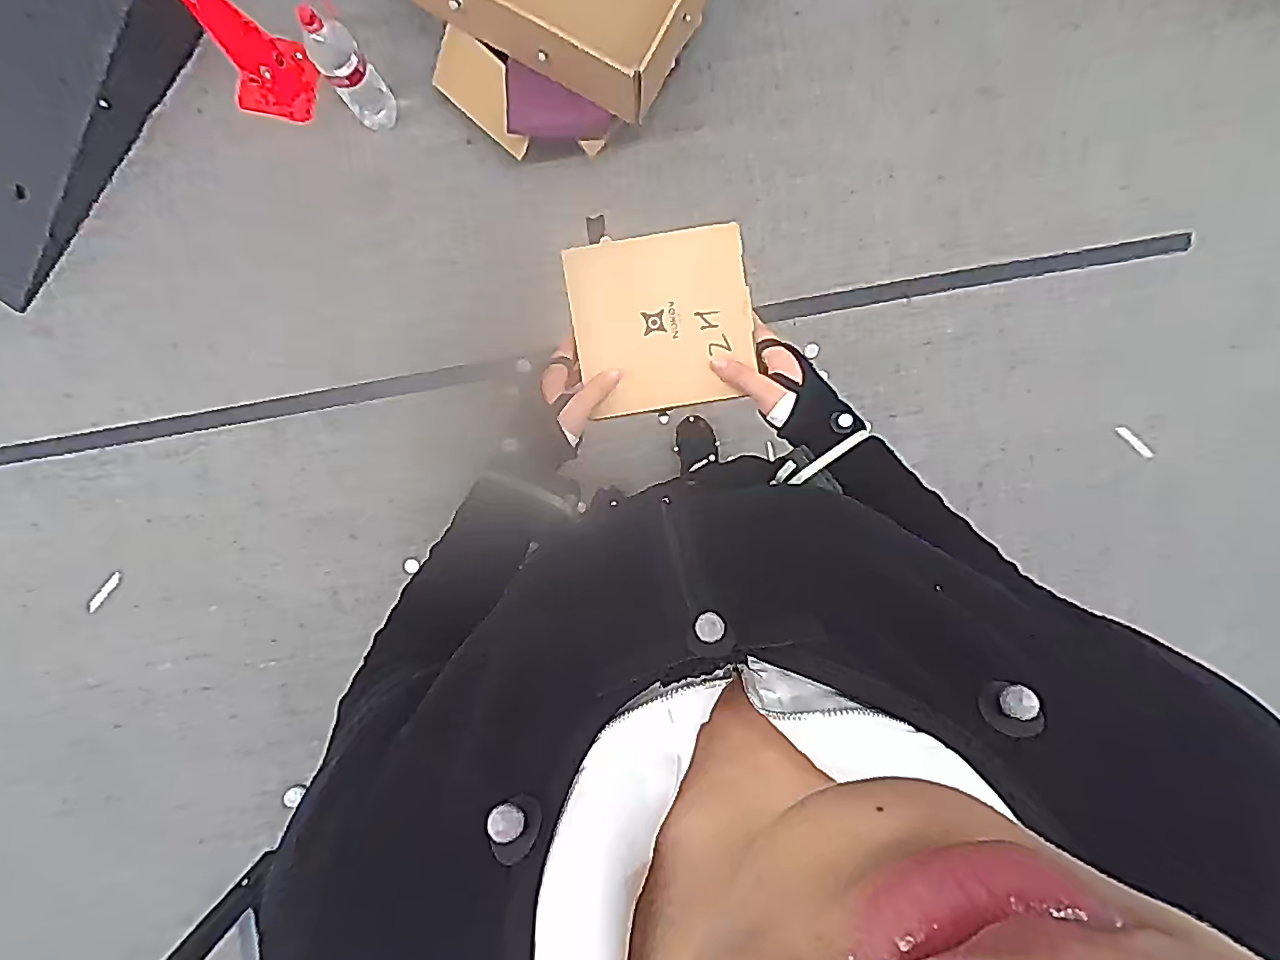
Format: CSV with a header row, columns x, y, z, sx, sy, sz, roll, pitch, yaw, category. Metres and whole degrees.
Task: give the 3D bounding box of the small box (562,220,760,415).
x,y,z,sx,sy,sz,roll,pitch,yaw,category
0.022,-0.166,0.605,0.179,0.176,0.168,-9,97,0,small box
